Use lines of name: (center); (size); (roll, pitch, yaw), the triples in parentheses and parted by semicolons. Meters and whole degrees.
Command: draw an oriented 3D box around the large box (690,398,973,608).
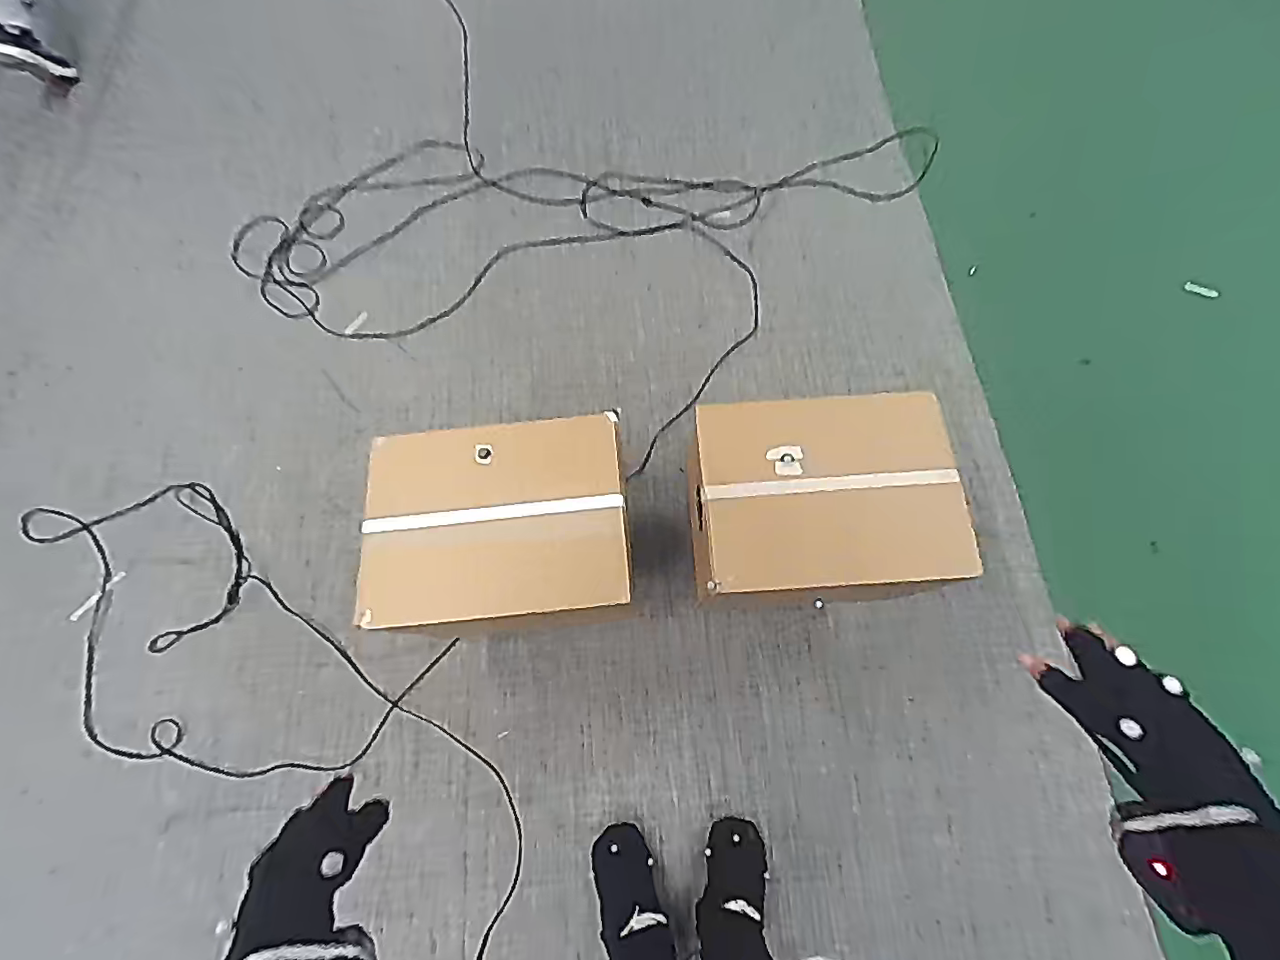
large box: (0.313, 0.063, 1.018); (0.408, 0.320, 0.320); (-3, 71, 1)
